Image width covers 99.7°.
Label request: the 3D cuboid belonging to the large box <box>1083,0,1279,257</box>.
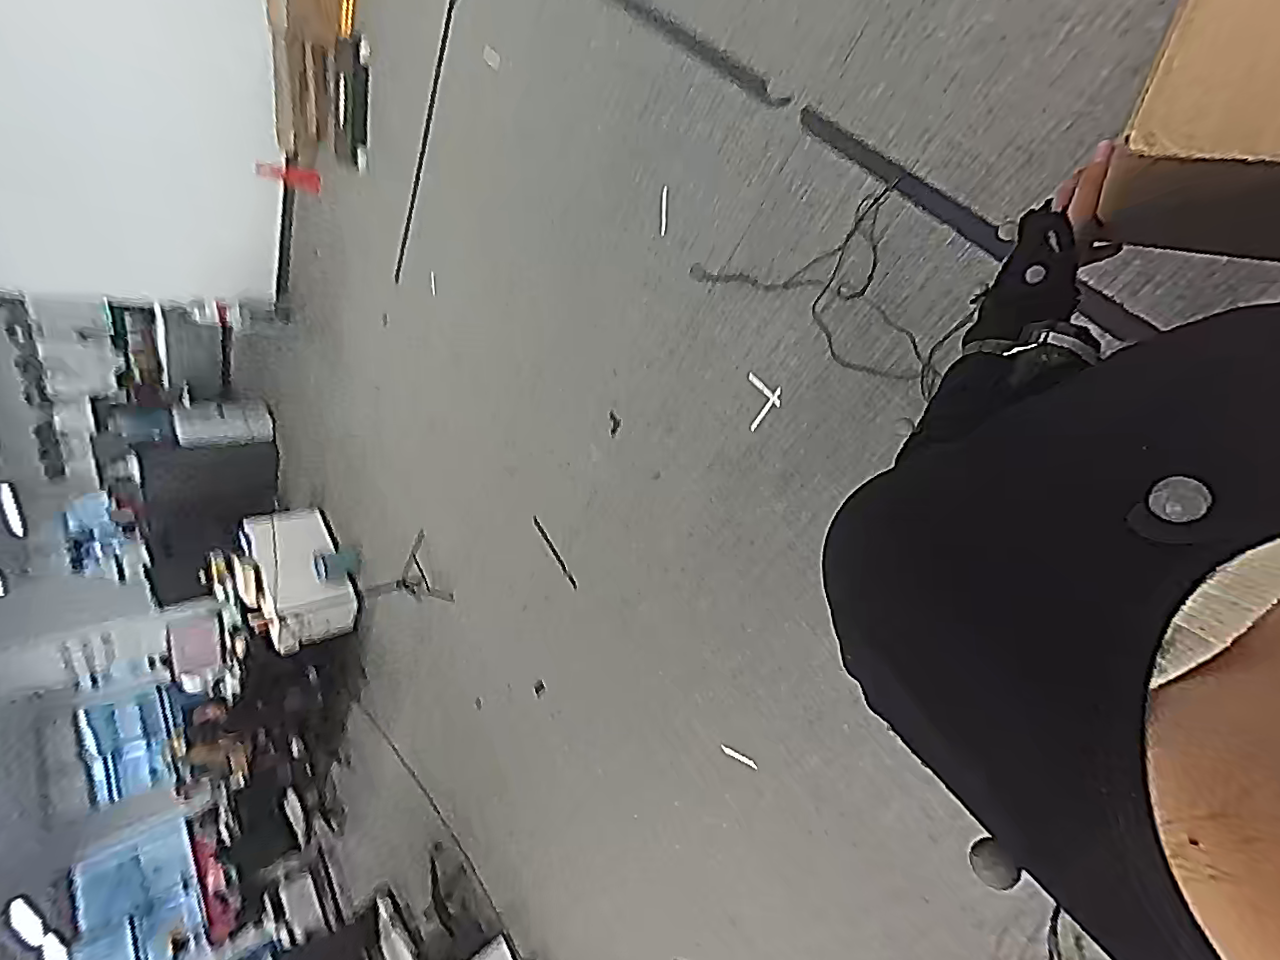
[{"bbox_3d":[0.482,-0.259,0.211,0.408,0.320,0.320,22,116,30],"label":"large box"}]
